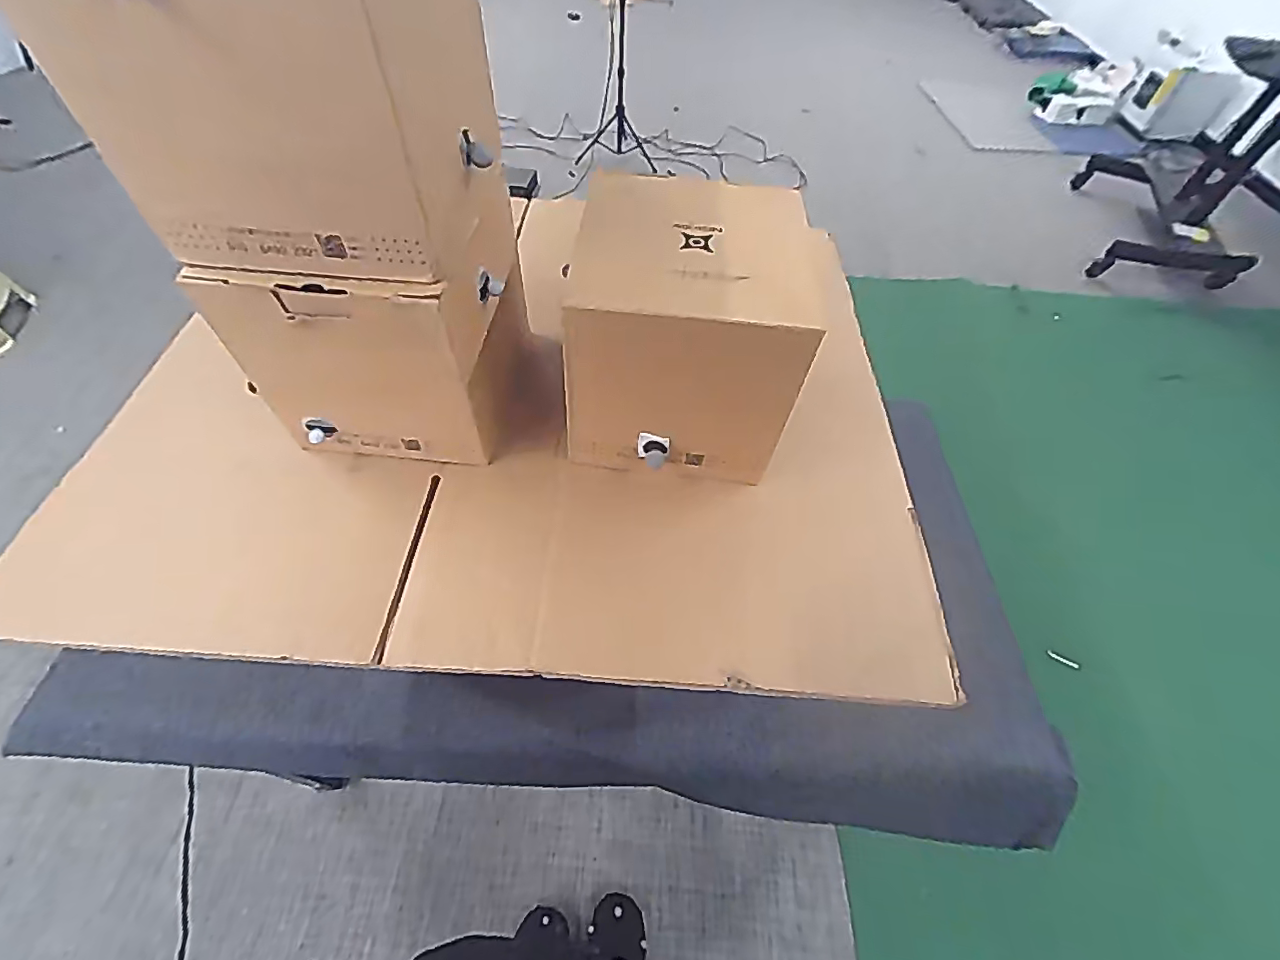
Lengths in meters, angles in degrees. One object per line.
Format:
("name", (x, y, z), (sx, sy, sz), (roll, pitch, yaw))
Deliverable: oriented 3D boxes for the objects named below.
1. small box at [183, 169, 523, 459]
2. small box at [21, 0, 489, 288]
("small box", (-0.201, -0.135, 0.447), (0.168, 0.176, 0.179), (5, 54, 1))
("small box", (-0.197, -0.241, 0.322), (0.168, 0.176, 0.179), (4, 54, 0))
